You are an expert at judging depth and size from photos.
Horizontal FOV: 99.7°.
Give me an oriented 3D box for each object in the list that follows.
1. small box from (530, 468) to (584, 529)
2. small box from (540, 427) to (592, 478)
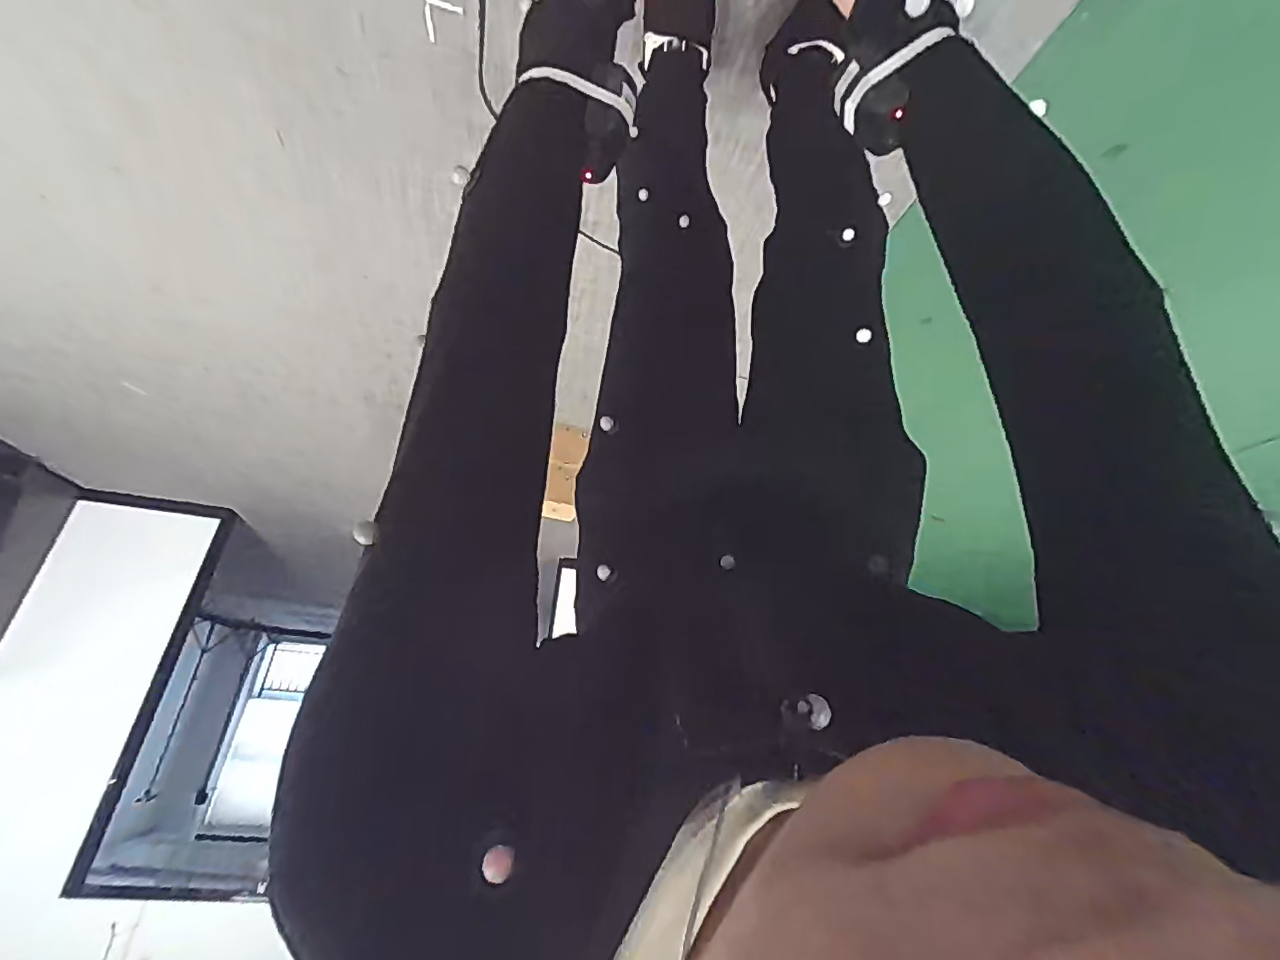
[{"bbox_3d":[-0.323,0.072,2.119,0.168,0.176,0.179,13,153,-15],"label":"small box"},{"bbox_3d":[-0.299,-0.093,2.184,0.168,0.176,0.179,14,154,-15],"label":"small box"}]
